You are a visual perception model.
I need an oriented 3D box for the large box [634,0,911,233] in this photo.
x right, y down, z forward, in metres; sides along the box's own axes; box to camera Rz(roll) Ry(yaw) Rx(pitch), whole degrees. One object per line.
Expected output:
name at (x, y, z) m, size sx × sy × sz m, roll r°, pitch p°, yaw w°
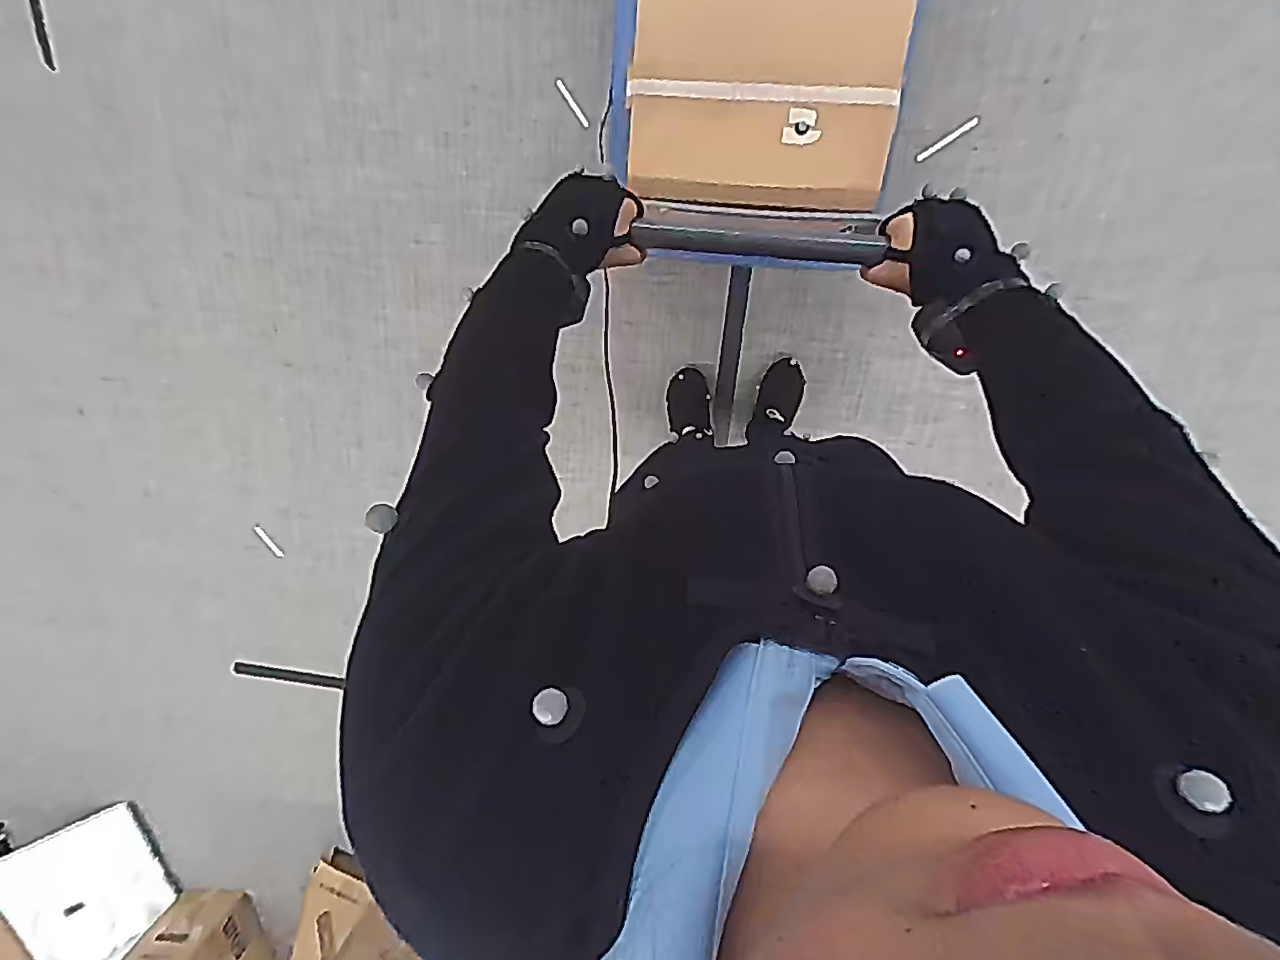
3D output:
large box at (0.207, -0.643, 0.986) m, size 0.408 × 0.320 × 0.320 m, roll 6°, pitch 109°, yaw 5°
